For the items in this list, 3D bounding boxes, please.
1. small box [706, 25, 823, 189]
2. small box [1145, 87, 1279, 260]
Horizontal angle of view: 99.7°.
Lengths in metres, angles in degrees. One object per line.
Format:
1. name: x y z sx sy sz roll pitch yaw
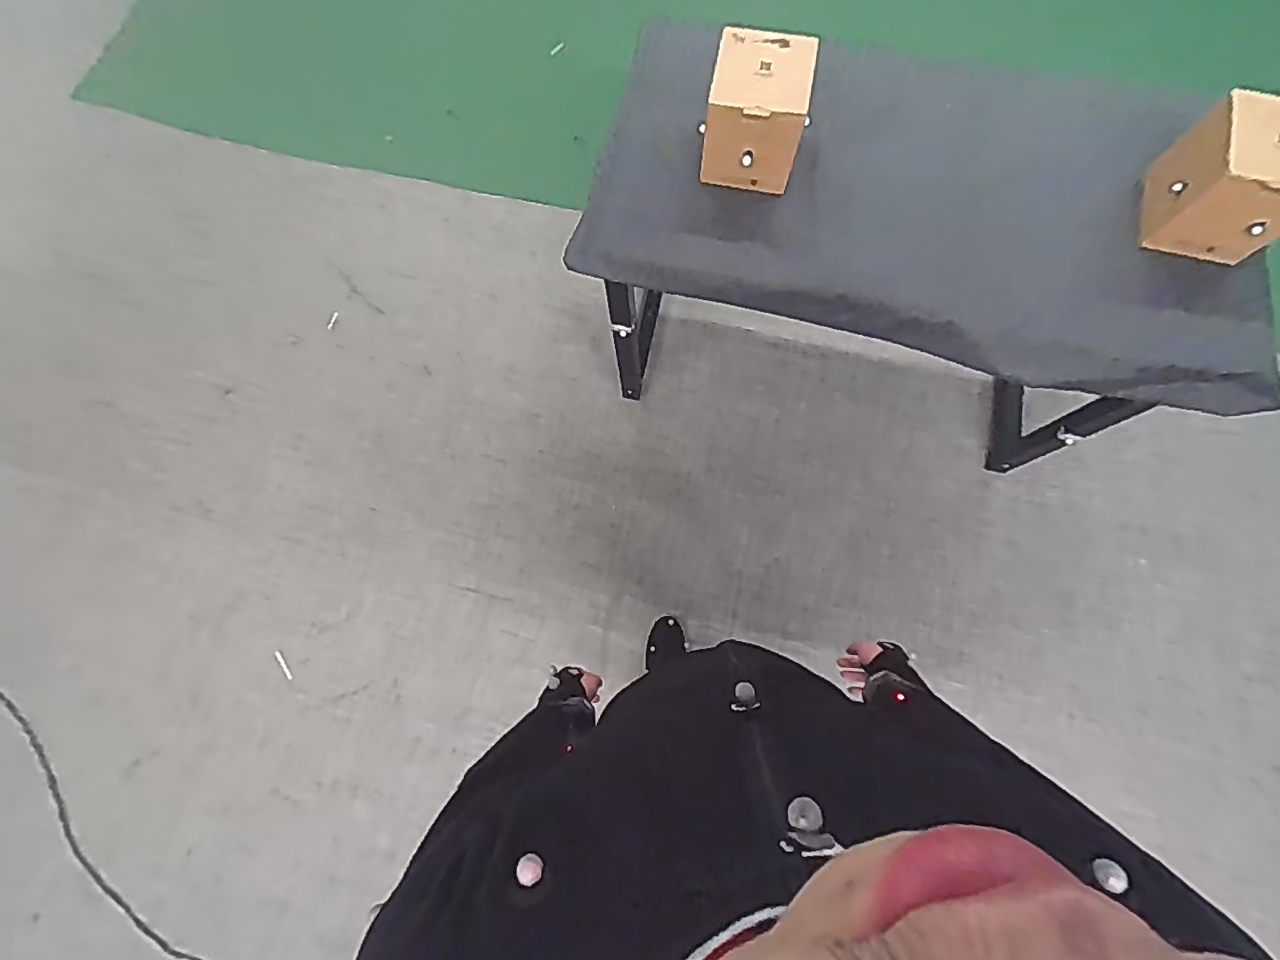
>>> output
1. small box: 0.216 -0.665 0.981 0.168 0.176 0.179 11 76 4
2. small box: 1.005 -0.504 0.909 0.168 0.176 0.179 16 75 5
